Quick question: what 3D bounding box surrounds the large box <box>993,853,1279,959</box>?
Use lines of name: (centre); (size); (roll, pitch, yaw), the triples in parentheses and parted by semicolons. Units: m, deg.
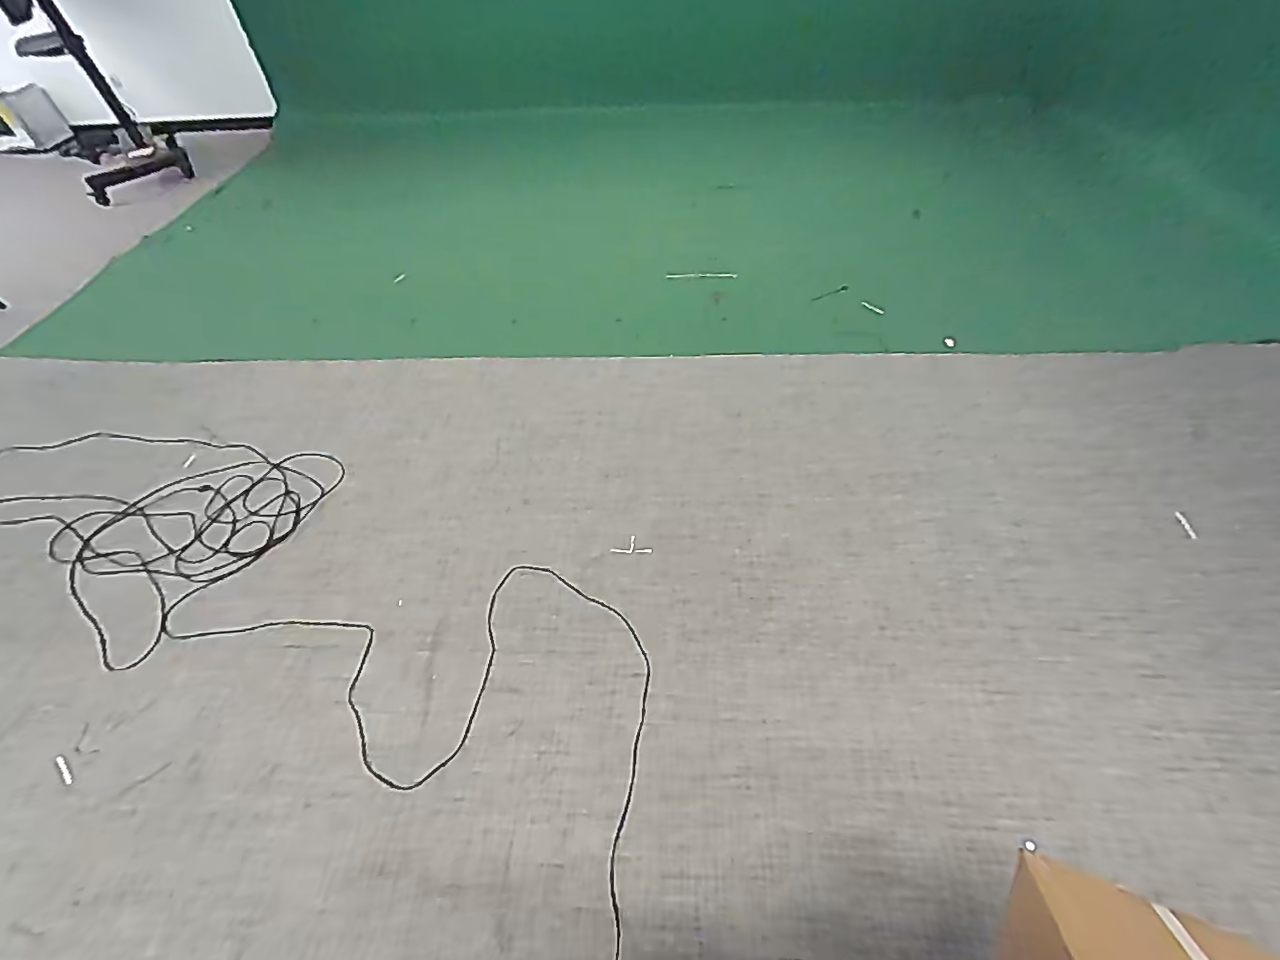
large box: (0.587, 0.714, 0.560); (0.320, 0.408, 0.320); (16, 91, 22)
